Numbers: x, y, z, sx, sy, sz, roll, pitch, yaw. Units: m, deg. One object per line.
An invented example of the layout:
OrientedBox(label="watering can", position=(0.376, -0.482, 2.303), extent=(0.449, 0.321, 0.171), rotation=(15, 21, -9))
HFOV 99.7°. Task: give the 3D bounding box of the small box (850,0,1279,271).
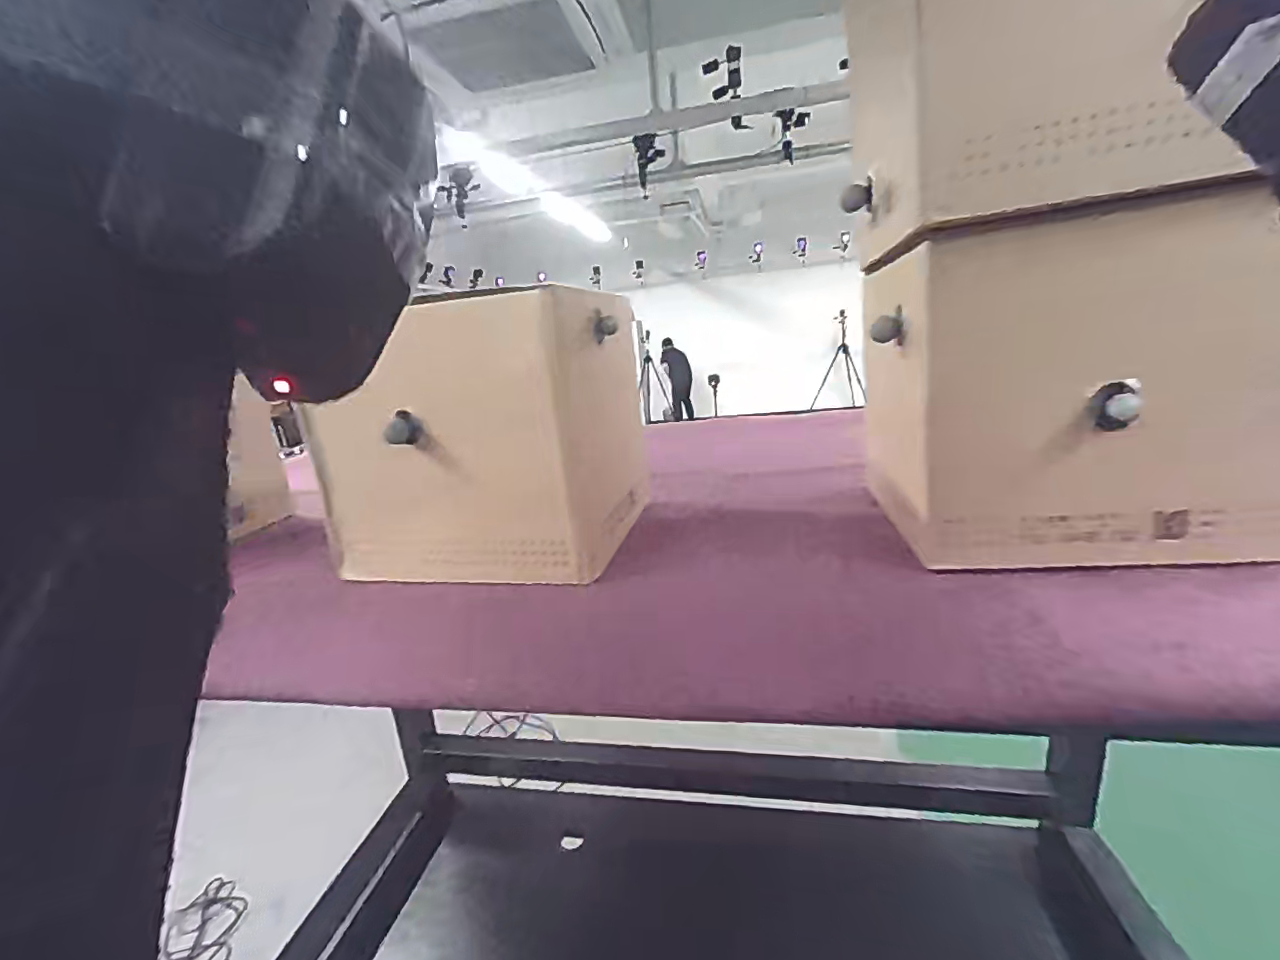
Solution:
OrientedBox(label="small box", position=(0.212, -0.210, 0.273), extent=(0.179, 0.176, 0.168), rotation=(-5, 12, 13))

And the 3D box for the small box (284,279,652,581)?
OrientedBox(label="small box", position=(-0.098, -0.038, 0.385), extent=(0.179, 0.176, 0.168), rotation=(-2, 16, 14))

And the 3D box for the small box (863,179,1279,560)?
OrientedBox(label="small box", position=(0.237, -0.058, 0.323), extent=(0.168, 0.176, 0.179), rotation=(-3, 13, 14))
